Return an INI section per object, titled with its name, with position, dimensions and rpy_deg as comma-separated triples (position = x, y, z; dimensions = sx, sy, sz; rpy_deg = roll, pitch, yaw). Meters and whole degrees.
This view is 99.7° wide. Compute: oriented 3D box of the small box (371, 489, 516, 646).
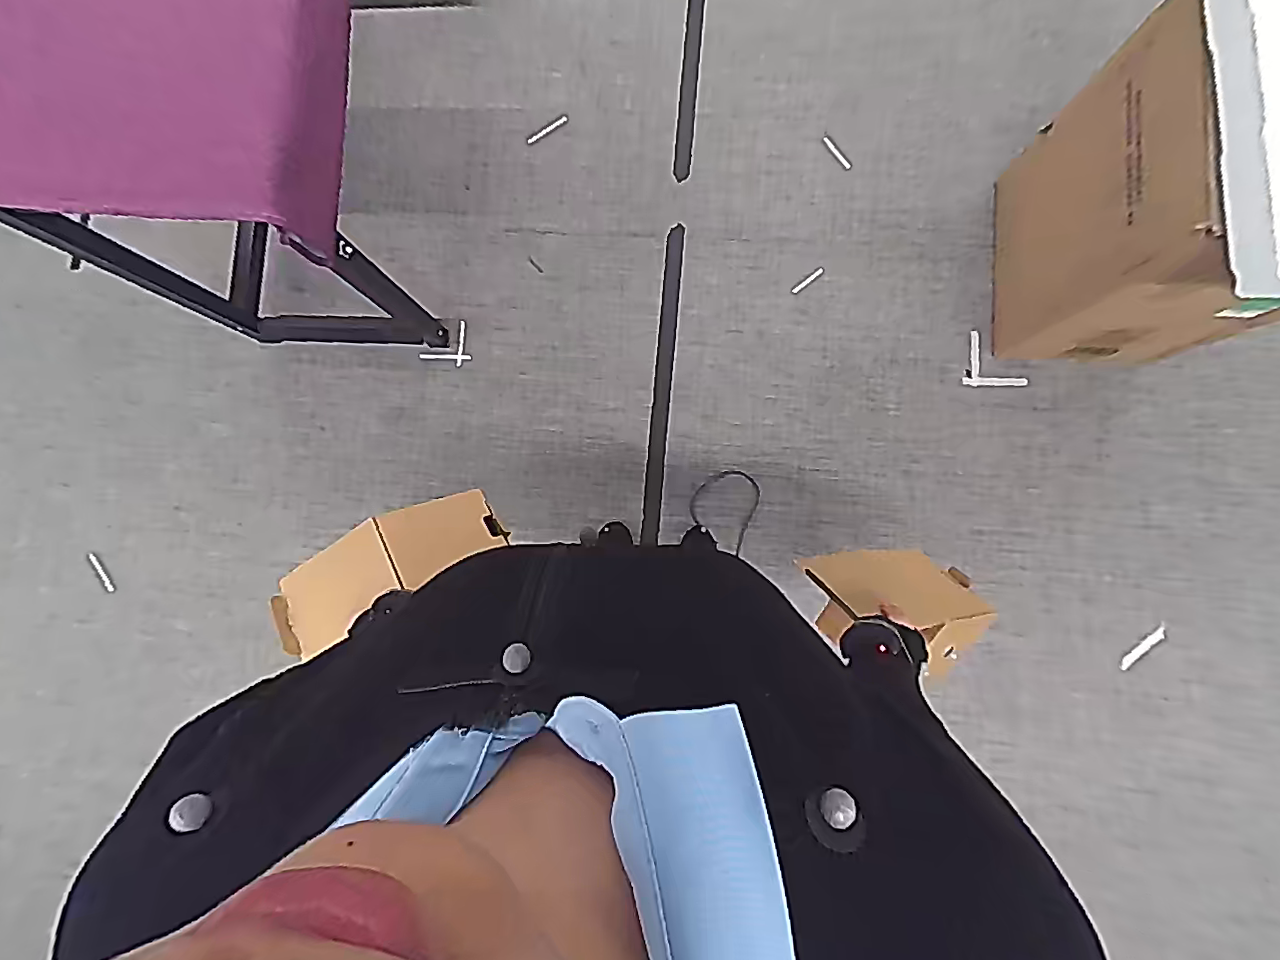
[small box]
position = -0.327, 0.147, 0.899
dimensions = 0.179, 0.176, 0.168
rpy_deg = -17, 59, -33
